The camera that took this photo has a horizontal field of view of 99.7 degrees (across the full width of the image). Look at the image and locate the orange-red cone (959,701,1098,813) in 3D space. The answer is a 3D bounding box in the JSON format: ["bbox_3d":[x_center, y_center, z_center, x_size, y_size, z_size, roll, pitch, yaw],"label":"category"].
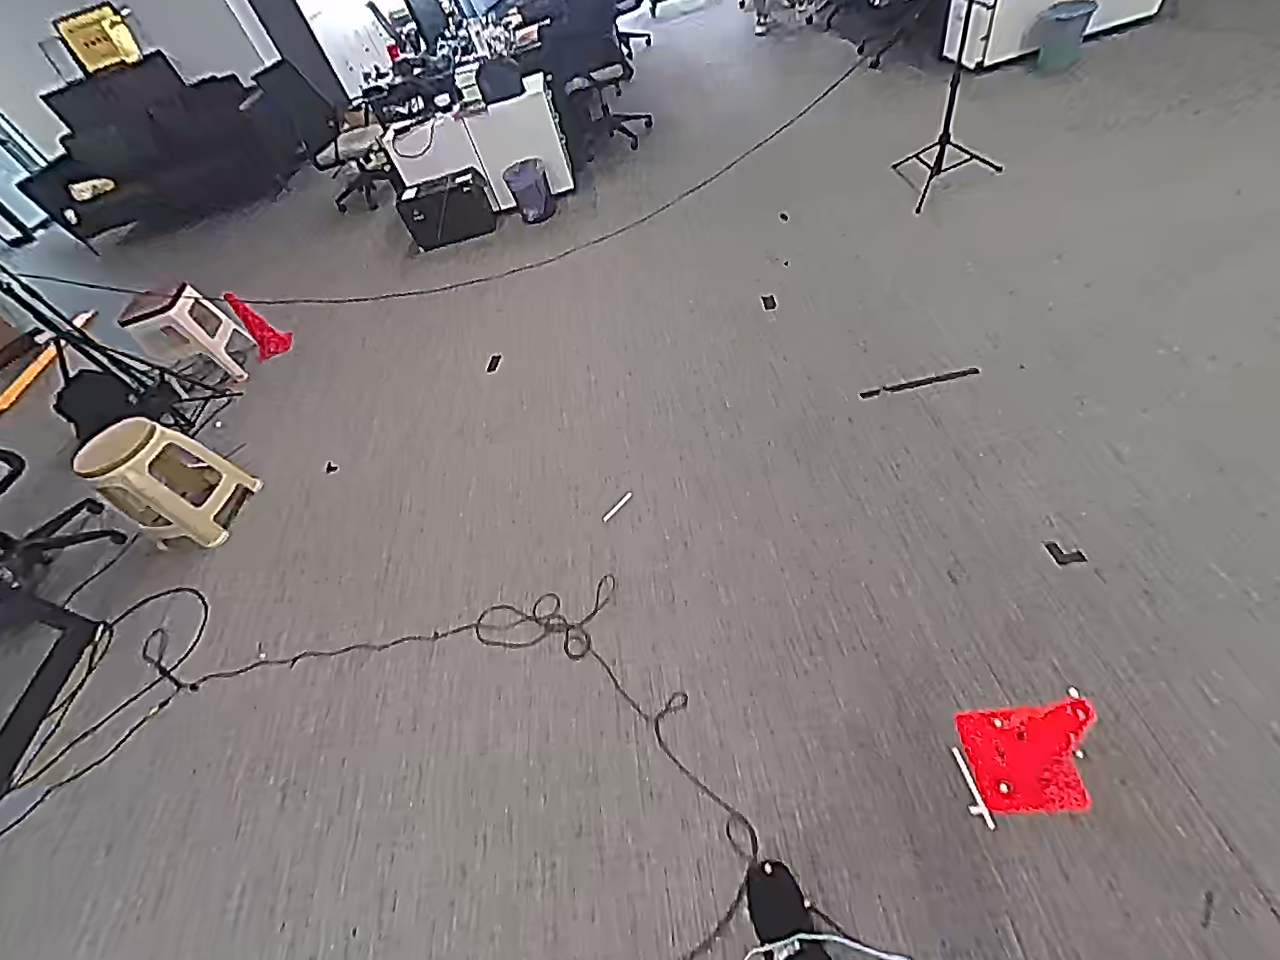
[{"bbox_3d":[0.775,0.491,1.026,0.199,0.360,0.198,-7,50,10],"label":"orange-red cone"}]
